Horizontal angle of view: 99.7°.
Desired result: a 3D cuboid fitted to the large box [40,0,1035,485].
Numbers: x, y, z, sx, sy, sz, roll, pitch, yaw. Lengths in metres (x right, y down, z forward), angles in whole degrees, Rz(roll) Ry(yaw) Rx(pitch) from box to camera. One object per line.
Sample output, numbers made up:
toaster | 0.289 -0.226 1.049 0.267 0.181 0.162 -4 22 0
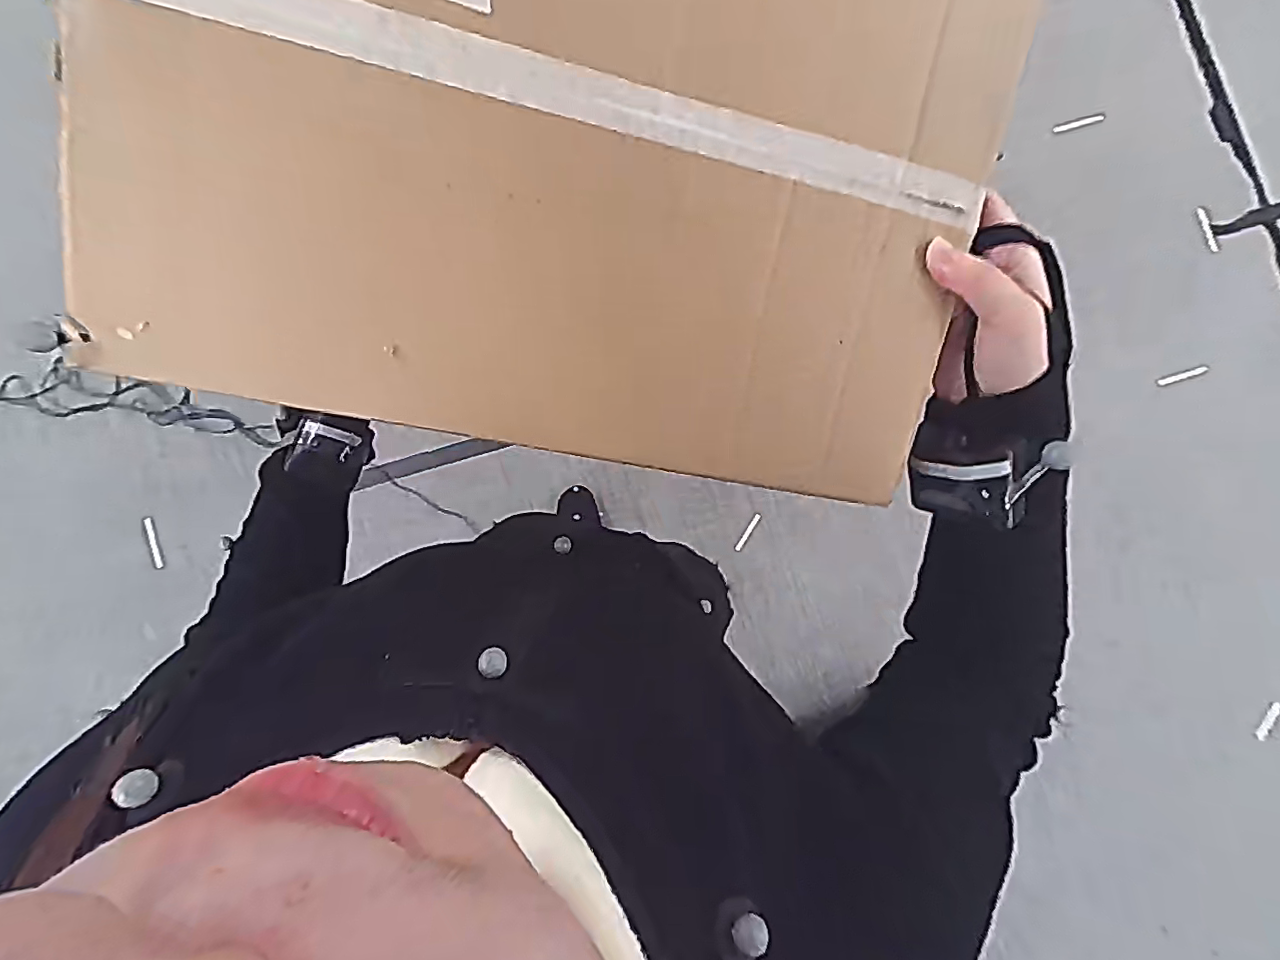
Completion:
large box | -0.044 -0.203 0.377 0.408 0.320 0.320 9 101 -9
